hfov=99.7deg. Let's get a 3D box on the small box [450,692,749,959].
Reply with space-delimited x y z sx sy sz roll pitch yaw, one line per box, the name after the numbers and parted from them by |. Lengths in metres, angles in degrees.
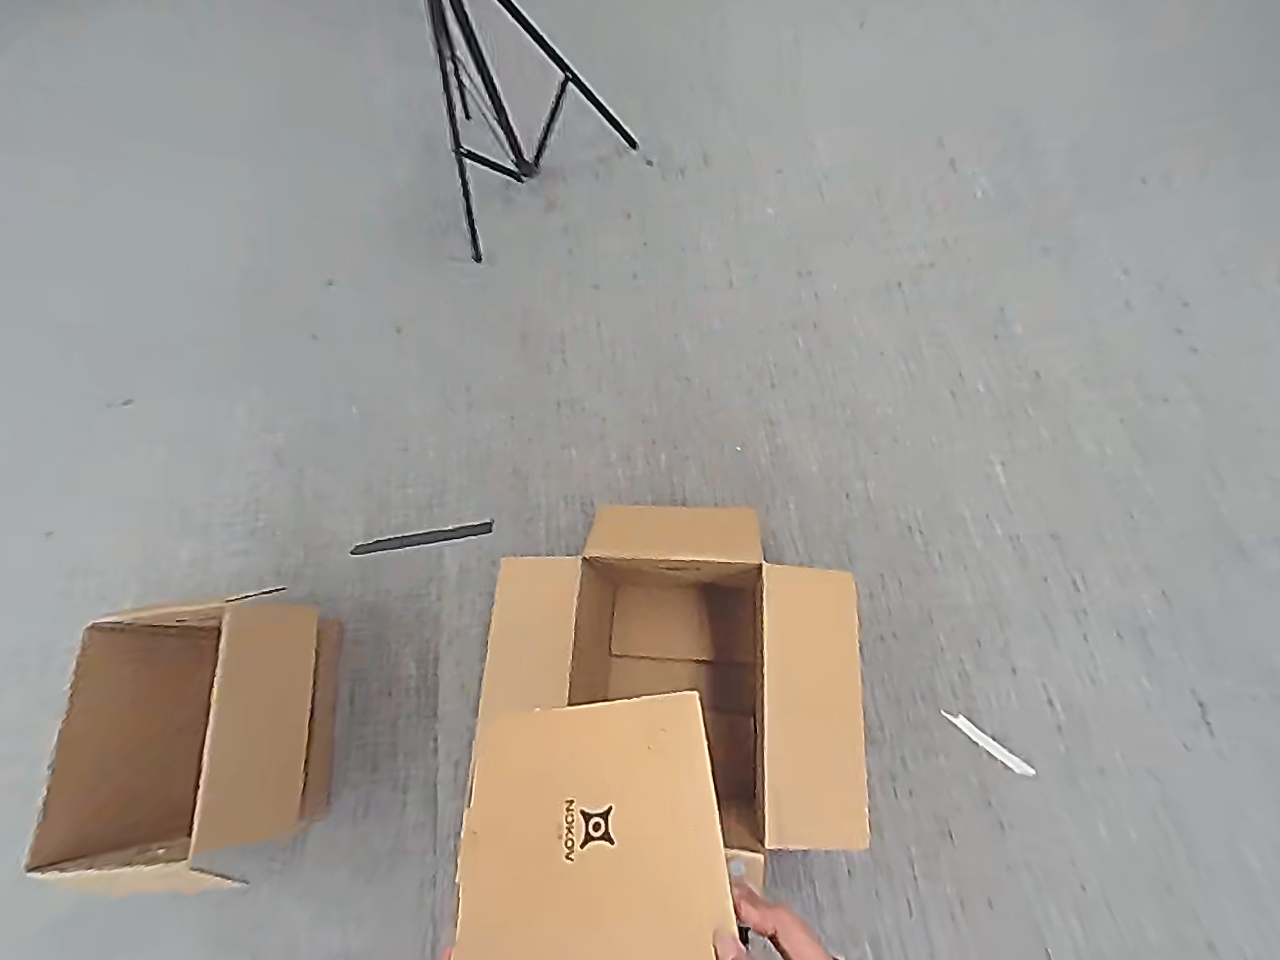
-0.023 0.284 0.414 0.179 0.176 0.168 -9 46 1 | small box
